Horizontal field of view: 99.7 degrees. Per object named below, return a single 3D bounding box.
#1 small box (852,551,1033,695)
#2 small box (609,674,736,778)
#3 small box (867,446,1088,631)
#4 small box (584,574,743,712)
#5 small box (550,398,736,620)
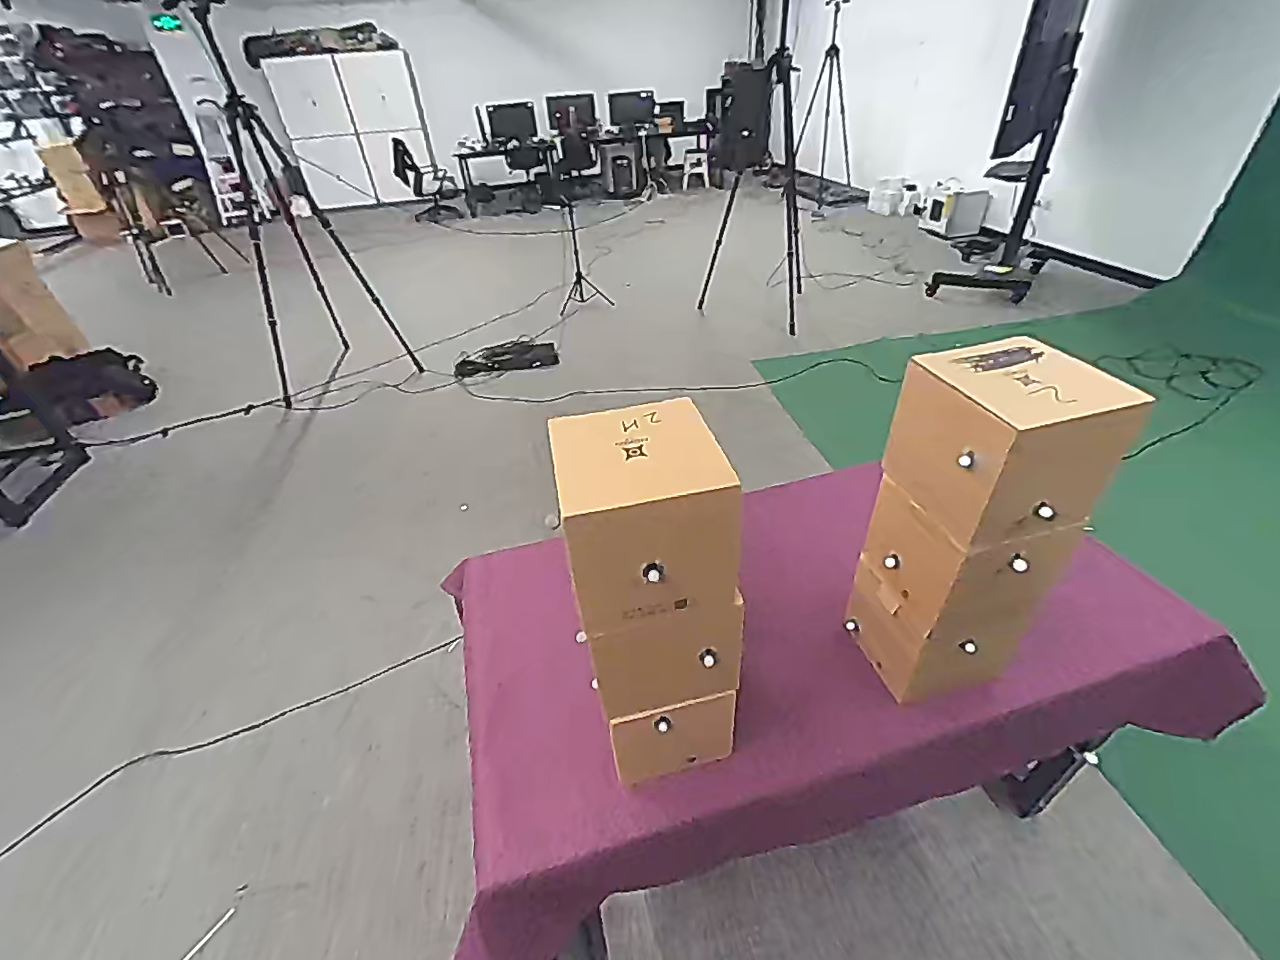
[{"bbox_3d":[0.455,0.209,0.850,0.179,0.176,0.168,-11,38,-9],"label":"small box"},{"bbox_3d":[0.031,0.295,0.790,0.168,0.176,0.179,-12,37,-7],"label":"small box"},{"bbox_3d":[0.447,0.080,0.751,0.179,0.176,0.168,-13,39,-8],"label":"small box"},{"bbox_3d":[0.020,0.166,0.691,0.179,0.176,0.168,-11,37,-6],"label":"small box"},{"bbox_3d":[0.001,0.034,0.593,0.168,0.176,0.179,-10,37,-6],"label":"small box"}]
